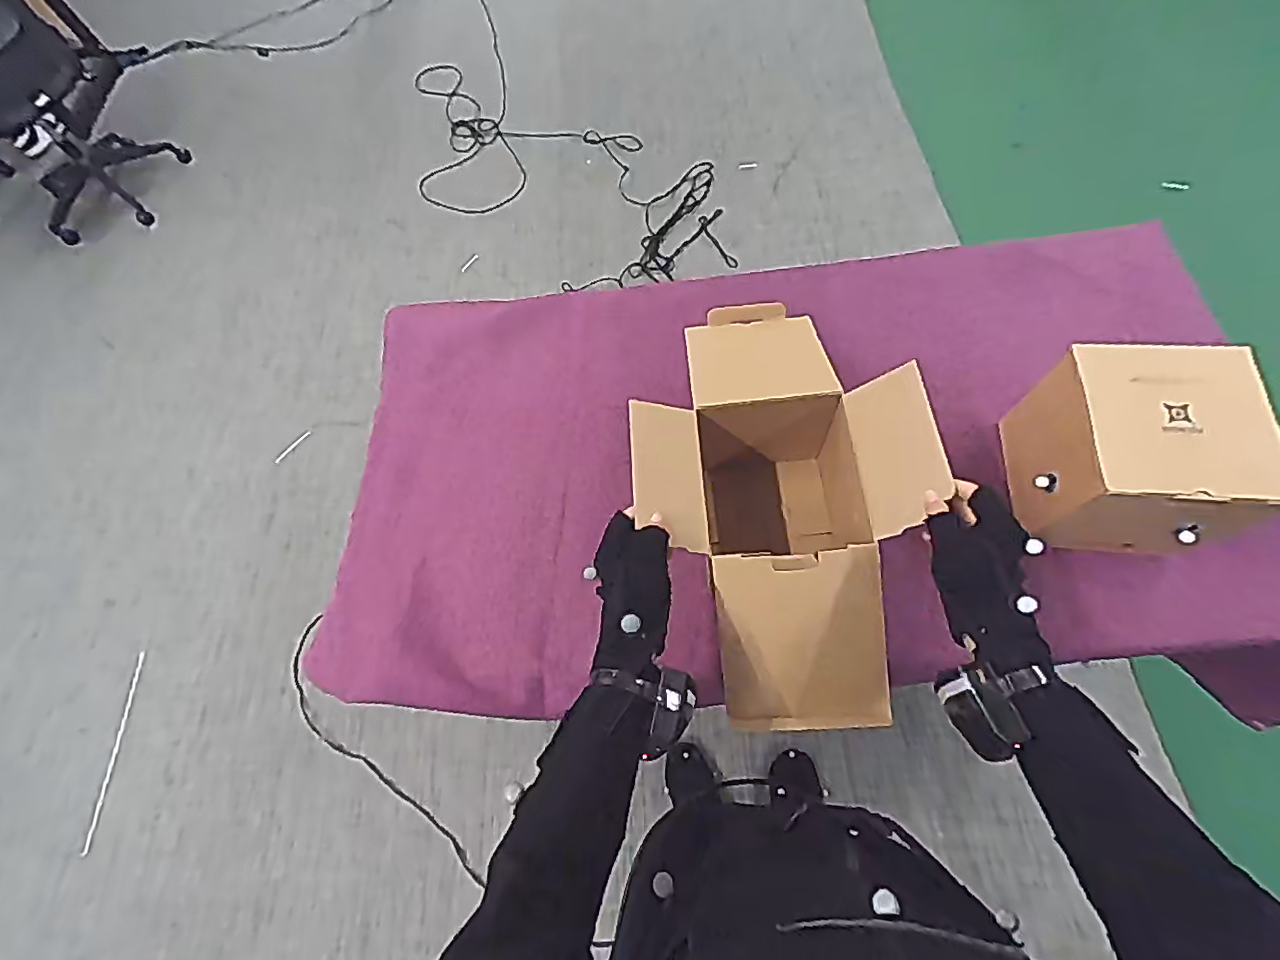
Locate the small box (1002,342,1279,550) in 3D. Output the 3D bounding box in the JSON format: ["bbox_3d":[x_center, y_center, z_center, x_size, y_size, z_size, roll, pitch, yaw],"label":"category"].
[{"bbox_3d":[0.537,-0.030,0.602,0.168,0.176,0.179,4,66,10],"label":"small box"}]
